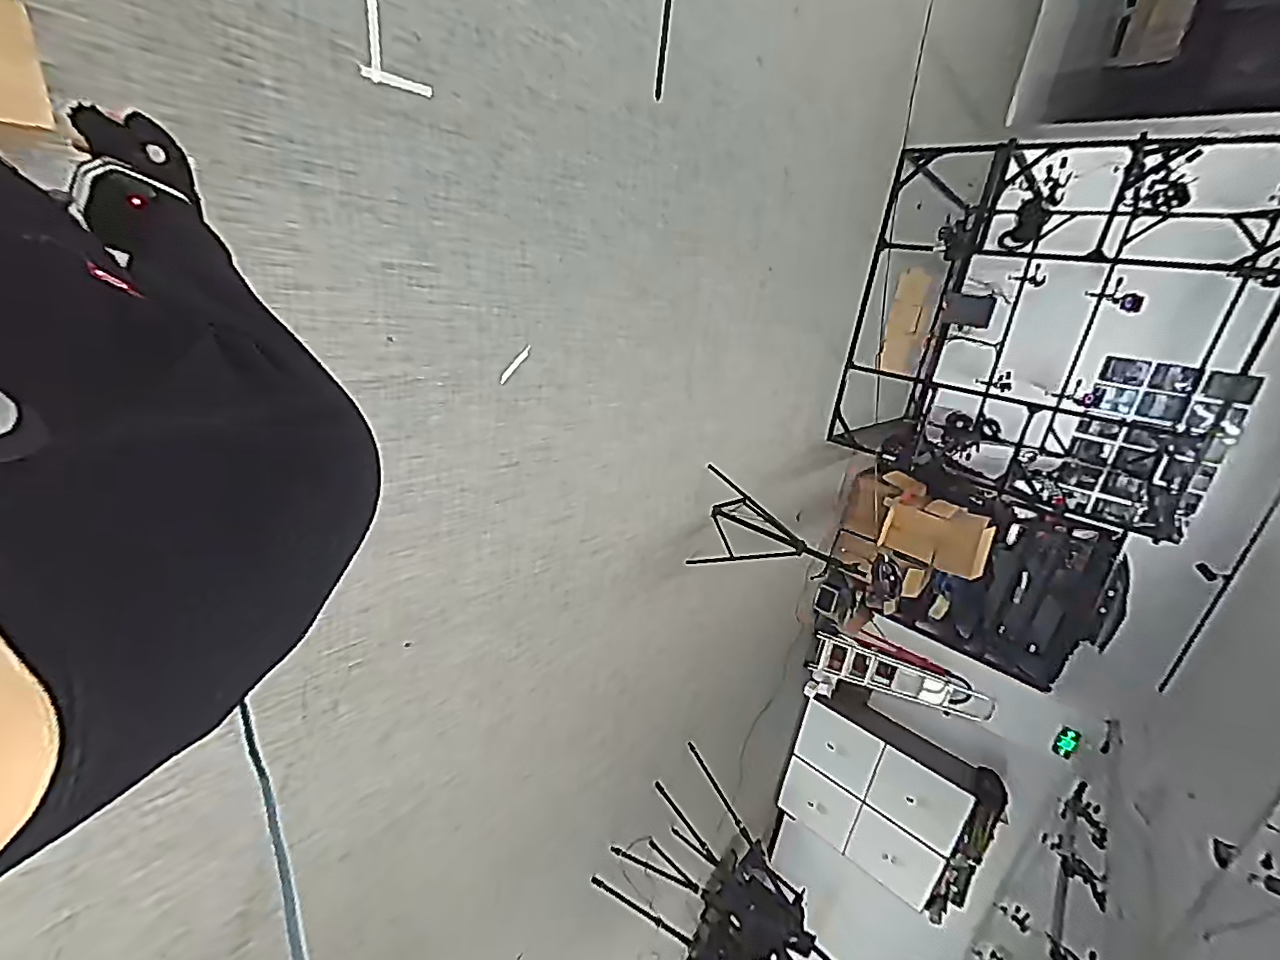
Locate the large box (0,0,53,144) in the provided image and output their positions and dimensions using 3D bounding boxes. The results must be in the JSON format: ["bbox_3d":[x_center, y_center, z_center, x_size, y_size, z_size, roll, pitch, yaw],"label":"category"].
[{"bbox_3d":[-1.054,-0.633,0.649,0.408,0.320,0.320,-19,121,-47],"label":"large box"}]
